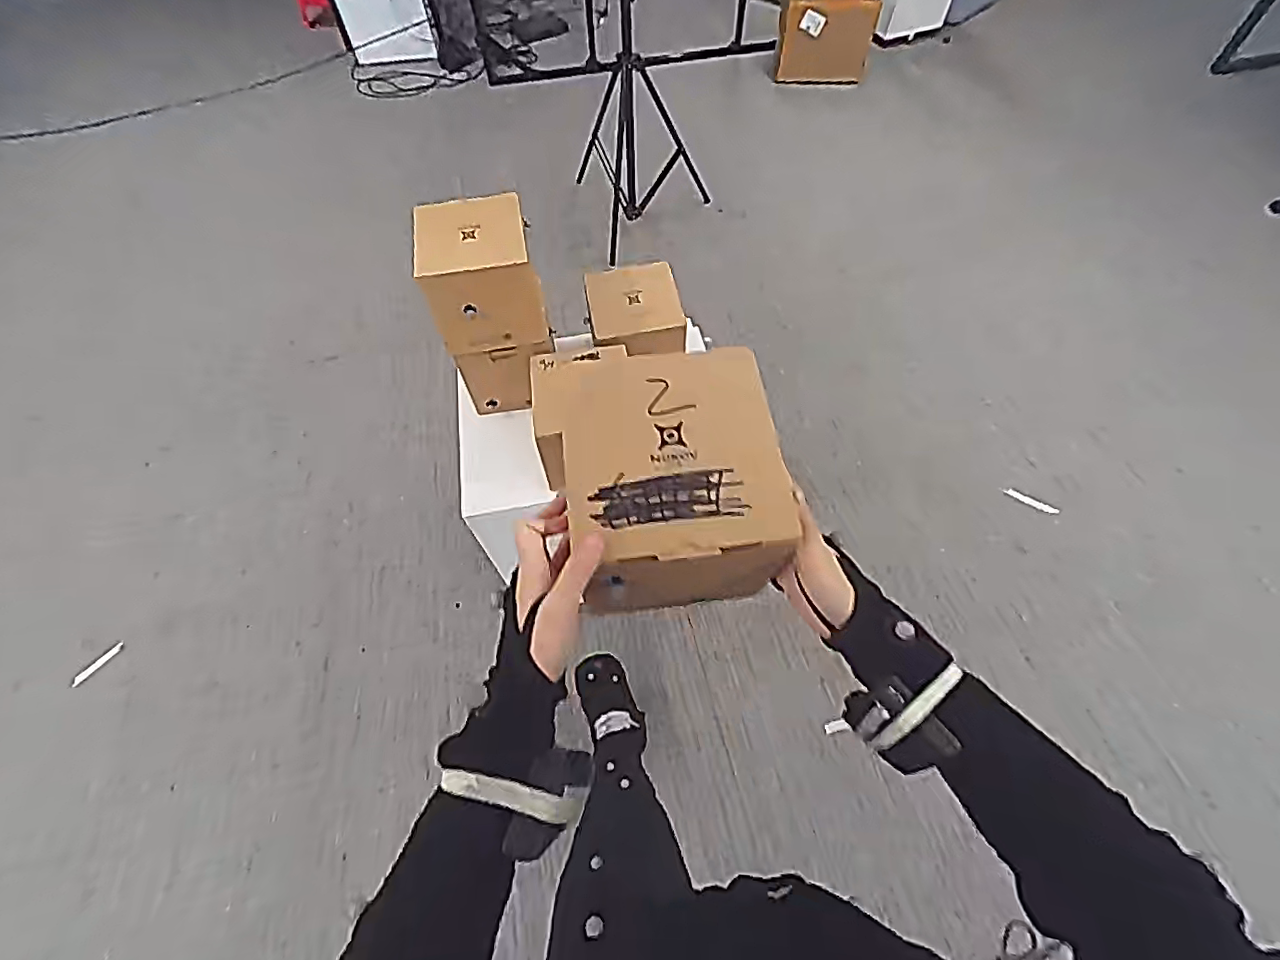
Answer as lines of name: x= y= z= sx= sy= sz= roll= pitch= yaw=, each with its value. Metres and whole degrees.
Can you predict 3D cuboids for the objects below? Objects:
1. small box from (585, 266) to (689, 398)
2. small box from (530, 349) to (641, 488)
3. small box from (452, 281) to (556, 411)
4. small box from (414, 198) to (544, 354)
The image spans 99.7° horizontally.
small box: x=-0.007 y=-0.281 z=1.049 sx=0.168 sy=0.176 sz=0.179 roll=-11 pitch=61 yaw=-4
small box: x=-0.091 y=-0.098 z=0.938 sx=0.168 sy=0.176 sz=0.179 roll=-8 pitch=59 yaw=-4
small box: x=-0.249 y=-0.246 z=1.029 sx=0.168 sy=0.176 sz=0.179 roll=-9 pitch=59 yaw=-5
small box: x=-0.258 y=-0.325 z=0.888 sx=0.168 sy=0.176 sz=0.179 roll=-11 pitch=60 yaw=-6
